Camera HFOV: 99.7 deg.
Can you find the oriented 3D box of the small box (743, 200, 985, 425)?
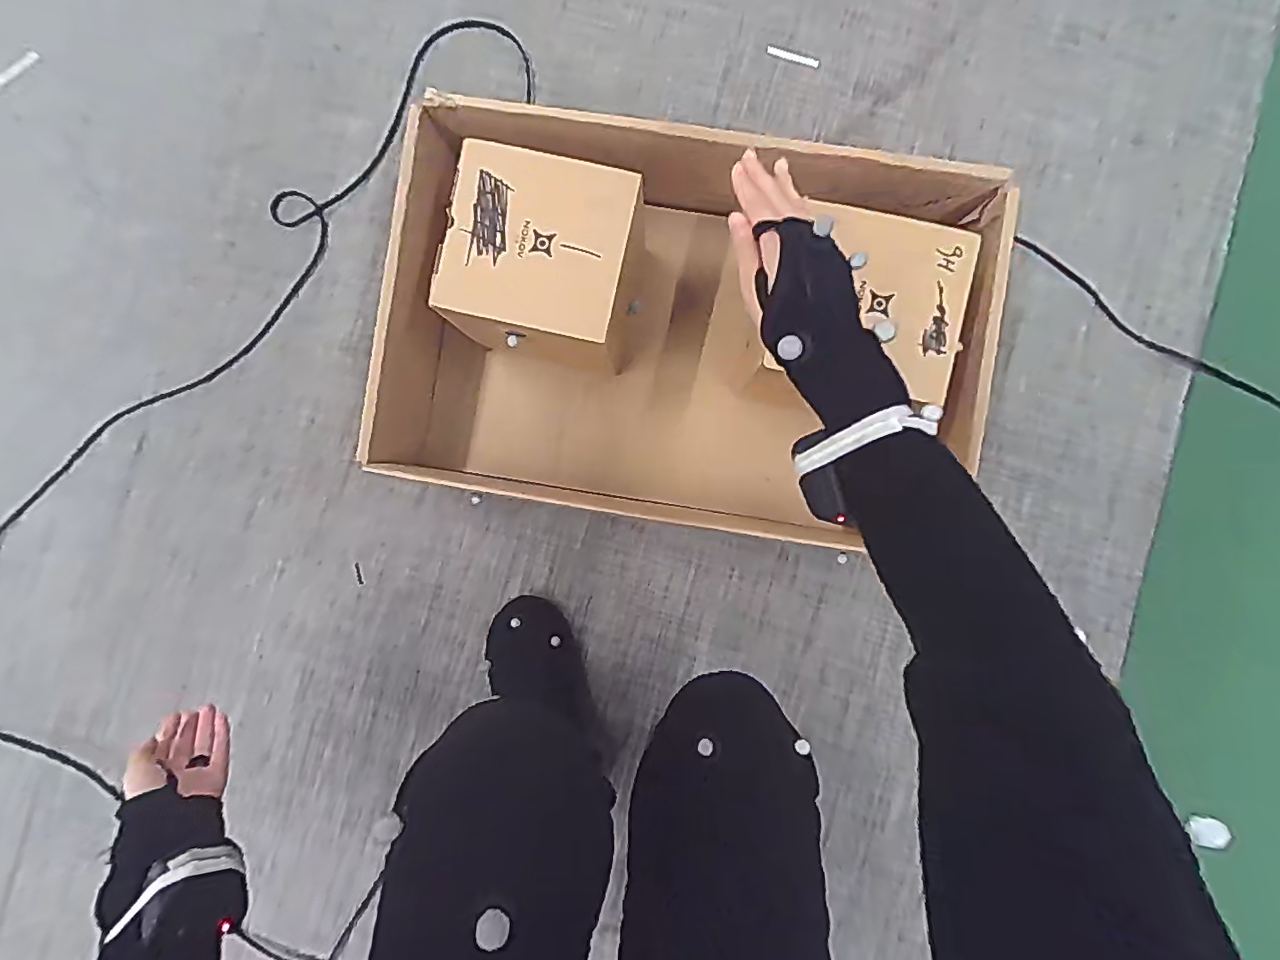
[{"bbox_3d":[0.221,-0.163,0.583,0.179,0.176,0.168,14,90,2],"label":"small box"}]
